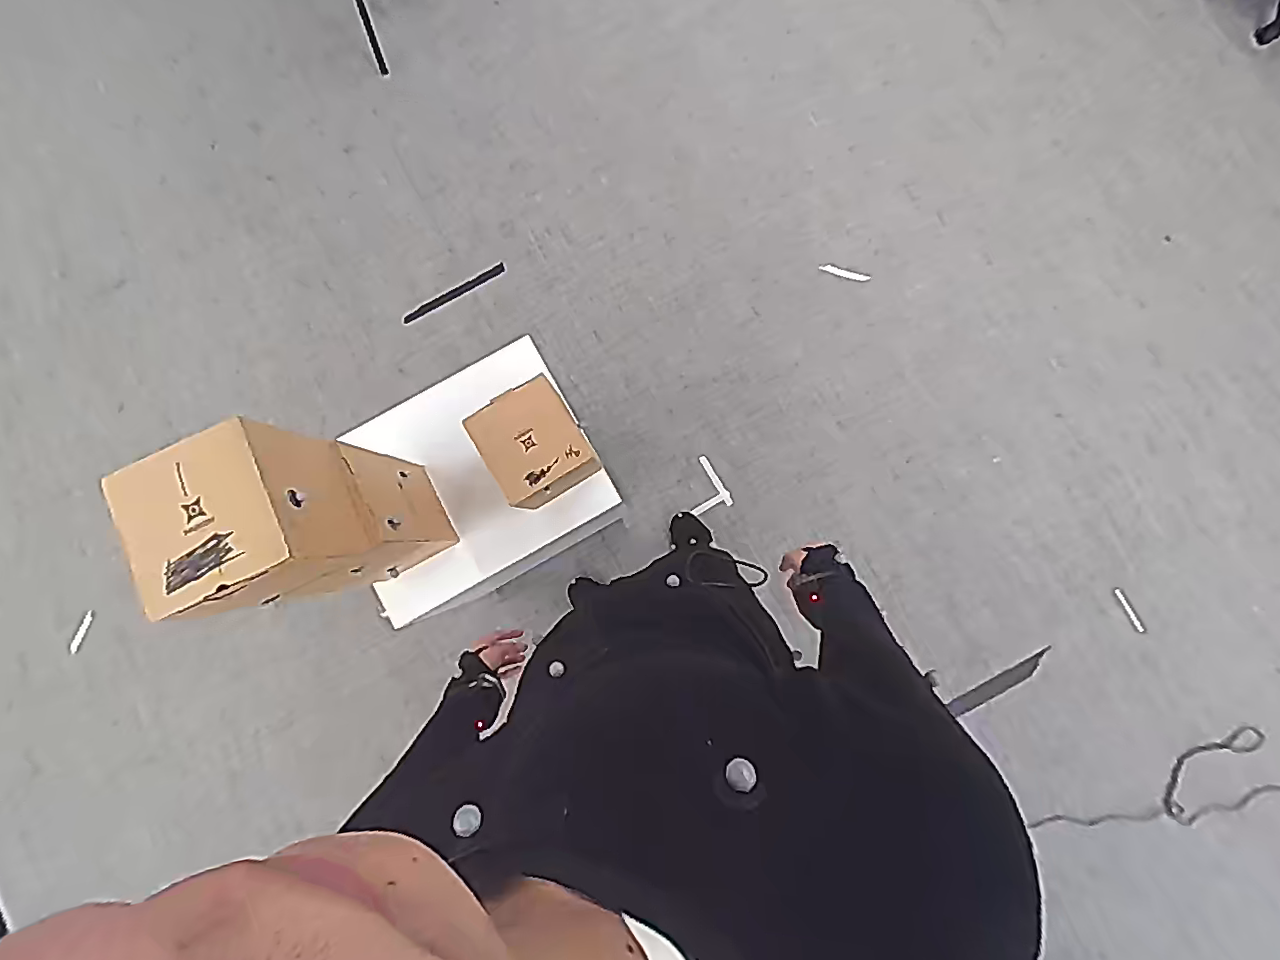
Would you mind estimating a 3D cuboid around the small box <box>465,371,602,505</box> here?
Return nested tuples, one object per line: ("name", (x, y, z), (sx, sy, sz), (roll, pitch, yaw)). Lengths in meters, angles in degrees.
("small box", (-0.187, -0.067, 0.998), (0.168, 0.176, 0.179), (-31, 84, -1))

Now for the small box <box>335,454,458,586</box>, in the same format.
("small box", (-0.462, 0.072, 0.991), (0.168, 0.176, 0.179), (-28, 84, -2))

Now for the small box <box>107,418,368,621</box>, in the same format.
("small box", (-0.471, 0.048, 0.662), (0.168, 0.176, 0.179), (-25, 83, -2))
